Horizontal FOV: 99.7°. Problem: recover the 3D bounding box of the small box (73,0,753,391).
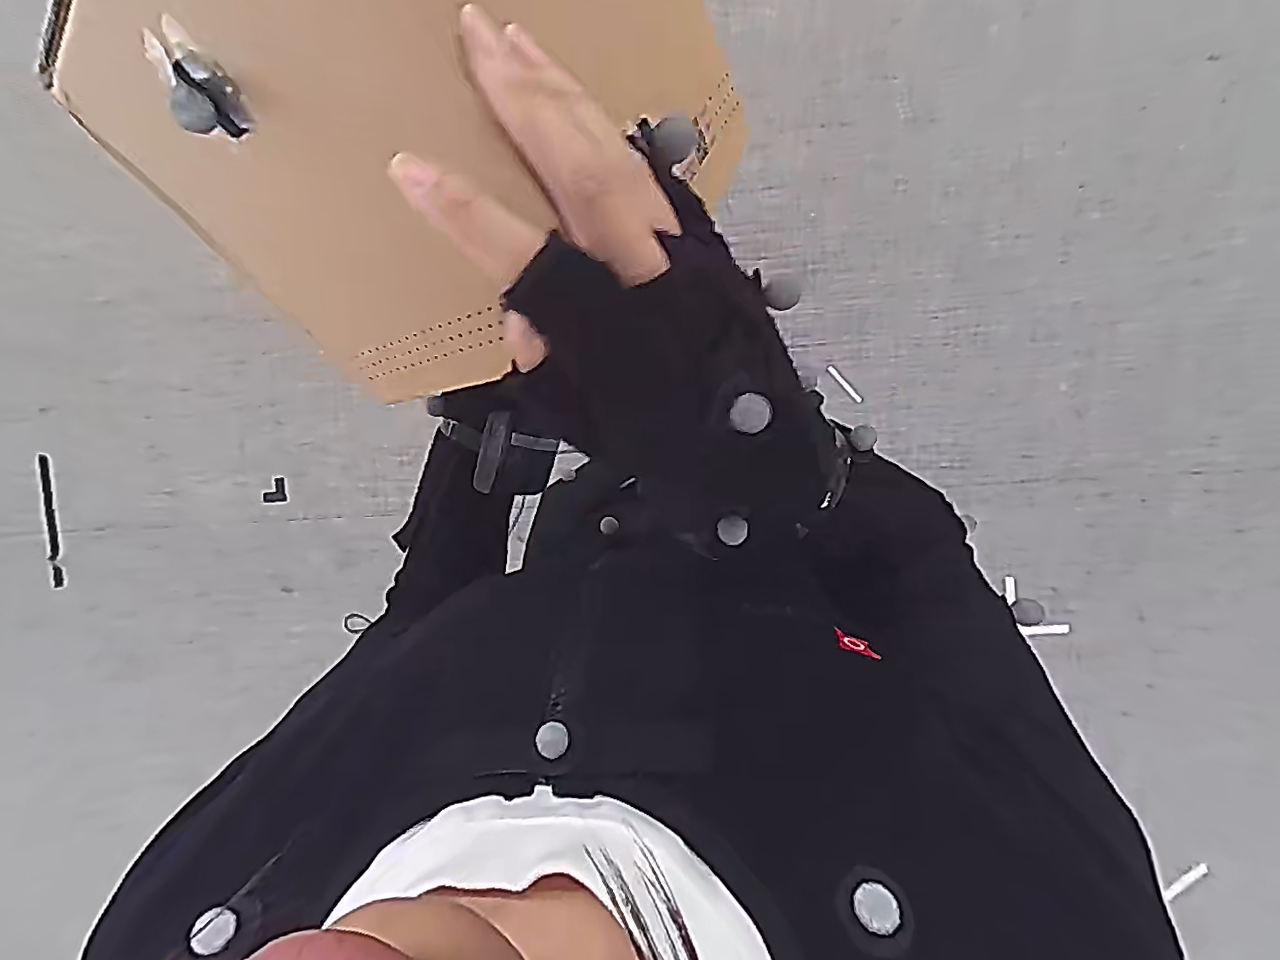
[{"bbox_3d":[-0.077,-0.156,0.239,0.179,0.168,0.176,-1,142,38],"label":"small box"}]
